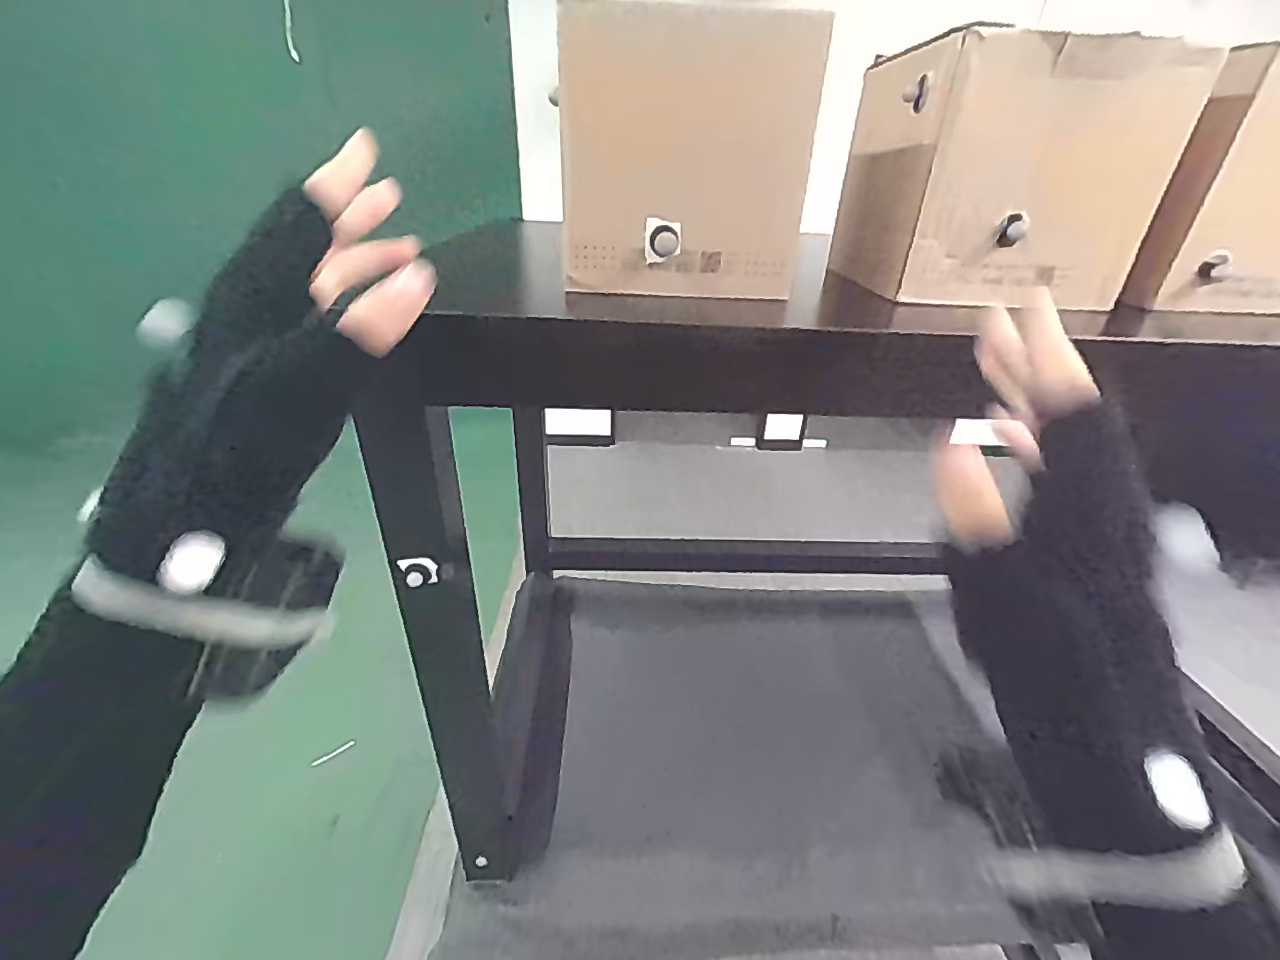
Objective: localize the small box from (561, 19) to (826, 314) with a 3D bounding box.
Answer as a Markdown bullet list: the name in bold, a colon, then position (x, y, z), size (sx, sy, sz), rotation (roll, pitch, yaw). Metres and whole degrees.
- **small box**: position (0.026, -0.241, 0.437), size (0.168, 0.176, 0.179), rotation (-1, 31, -4)
